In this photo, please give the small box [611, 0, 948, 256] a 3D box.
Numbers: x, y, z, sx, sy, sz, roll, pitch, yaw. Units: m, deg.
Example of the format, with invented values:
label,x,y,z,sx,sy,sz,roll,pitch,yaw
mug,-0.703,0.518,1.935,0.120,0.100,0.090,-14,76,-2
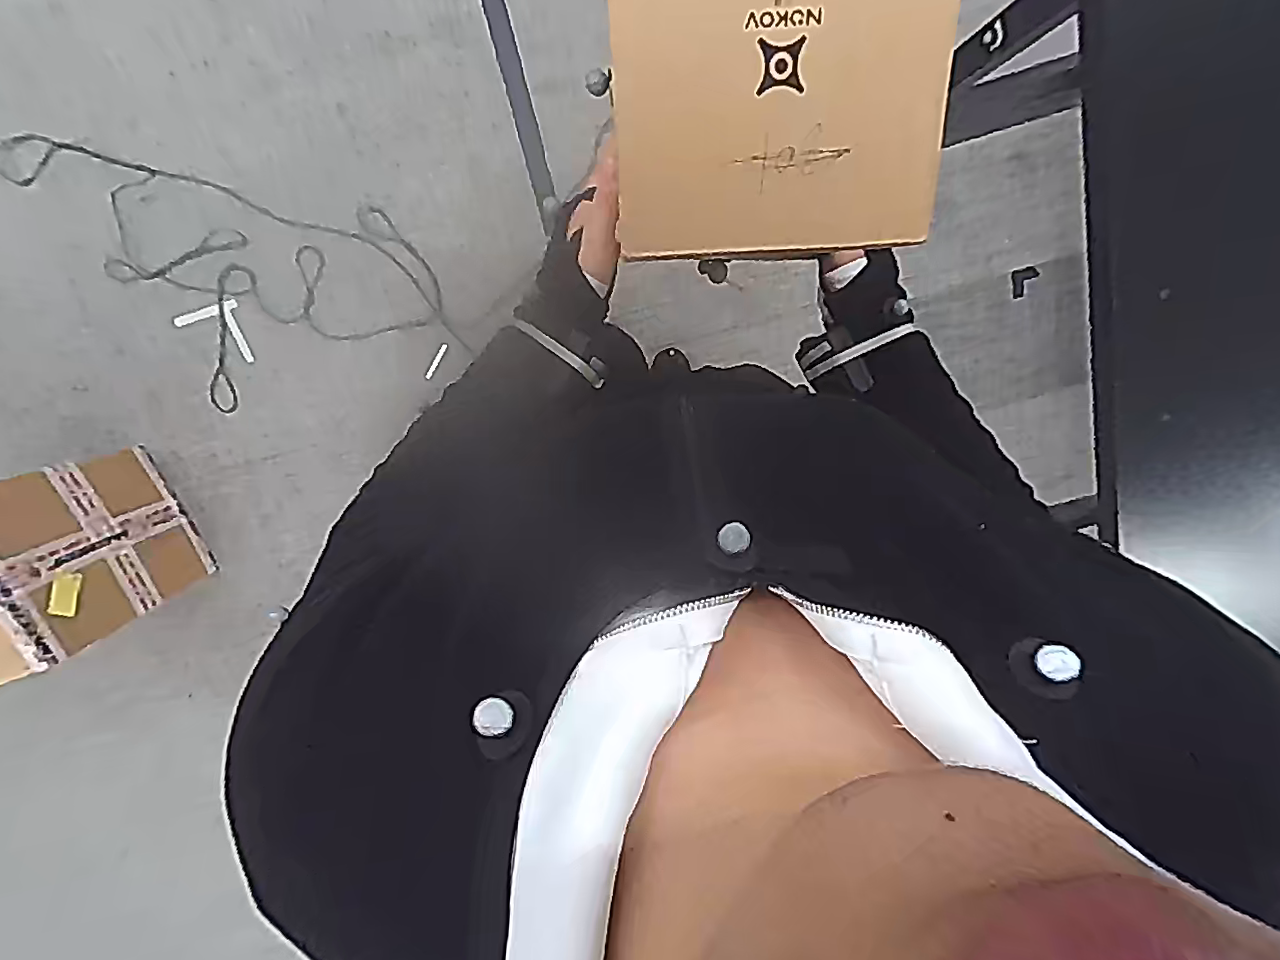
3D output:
label,x,y,z,sx,sy,sz,roll,pitch,yaw
small box,0.067,-0.242,0.343,0.168,0.176,0.179,-3,112,2
